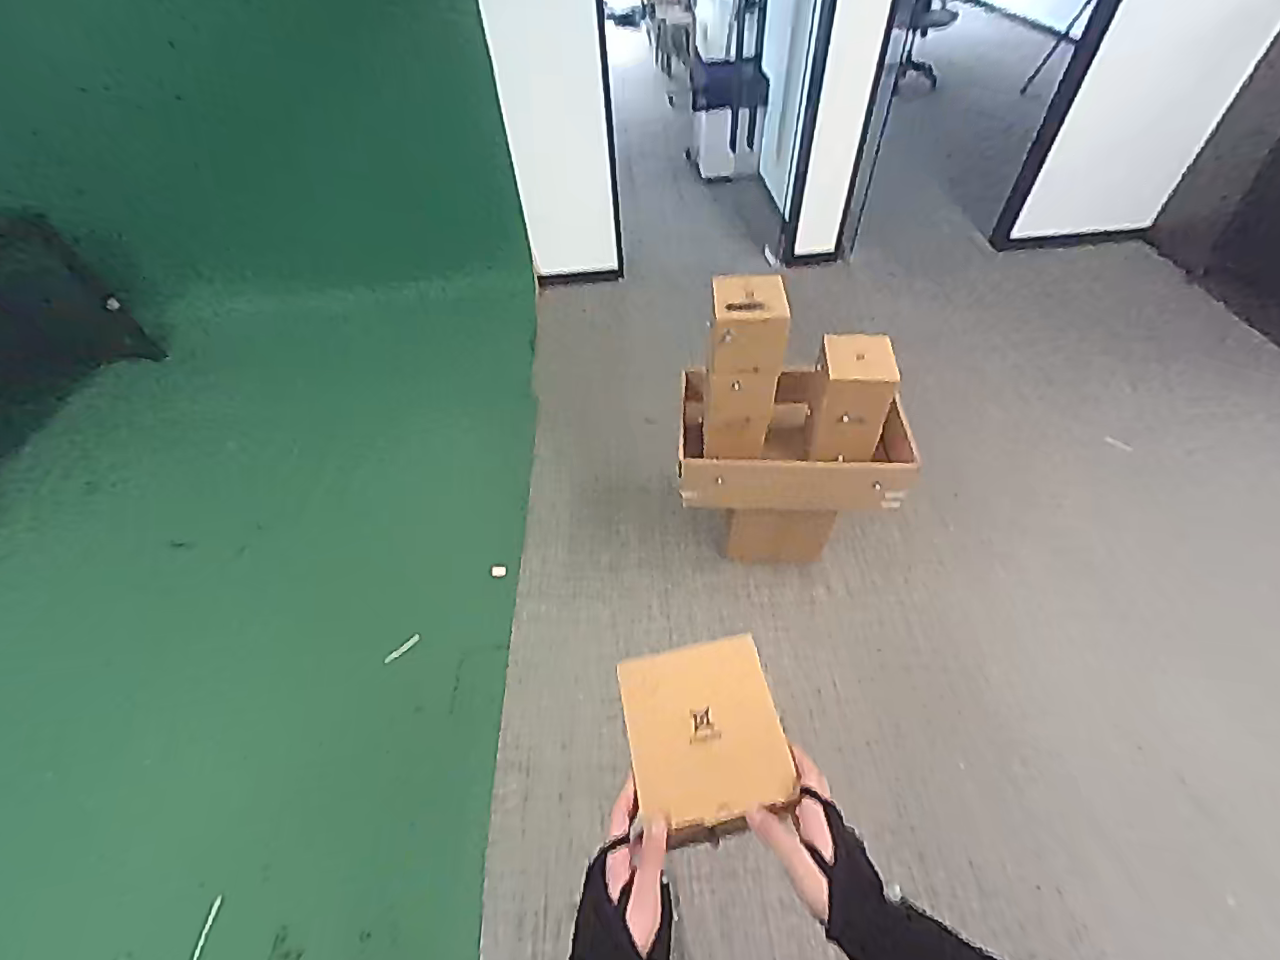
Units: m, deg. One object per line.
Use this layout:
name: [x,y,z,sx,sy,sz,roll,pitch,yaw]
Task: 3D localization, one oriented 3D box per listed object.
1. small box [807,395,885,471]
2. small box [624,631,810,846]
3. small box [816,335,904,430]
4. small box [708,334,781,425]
small box: [0.571,-0.148,1.523,0.168,0.176,0.179,5,51,8]
small box: [0.079,0.306,0.637,0.168,0.176,0.179,-11,51,-3]
small box: [0.558,-0.252,1.398,0.168,0.176,0.179,4,50,7]
small box: [0.268,-0.264,1.426,0.168,0.176,0.179,-1,50,3]
